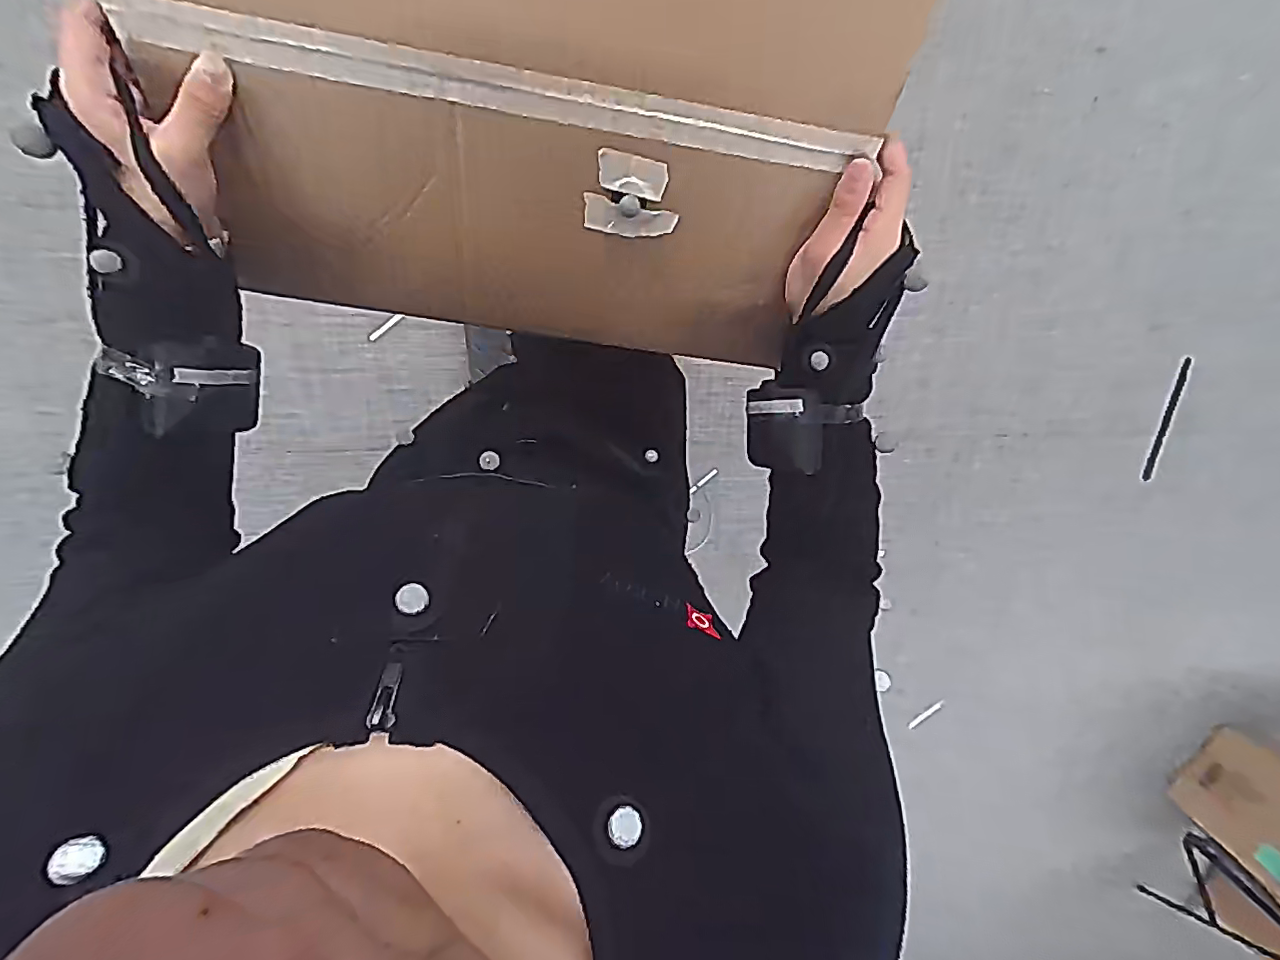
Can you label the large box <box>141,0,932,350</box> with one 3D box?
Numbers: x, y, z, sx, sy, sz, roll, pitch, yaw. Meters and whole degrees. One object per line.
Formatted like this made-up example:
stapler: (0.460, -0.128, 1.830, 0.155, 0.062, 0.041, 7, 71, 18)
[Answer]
large box: (-0.061, -0.332, 0.397, 0.408, 0.320, 0.320, 5, 141, -7)
